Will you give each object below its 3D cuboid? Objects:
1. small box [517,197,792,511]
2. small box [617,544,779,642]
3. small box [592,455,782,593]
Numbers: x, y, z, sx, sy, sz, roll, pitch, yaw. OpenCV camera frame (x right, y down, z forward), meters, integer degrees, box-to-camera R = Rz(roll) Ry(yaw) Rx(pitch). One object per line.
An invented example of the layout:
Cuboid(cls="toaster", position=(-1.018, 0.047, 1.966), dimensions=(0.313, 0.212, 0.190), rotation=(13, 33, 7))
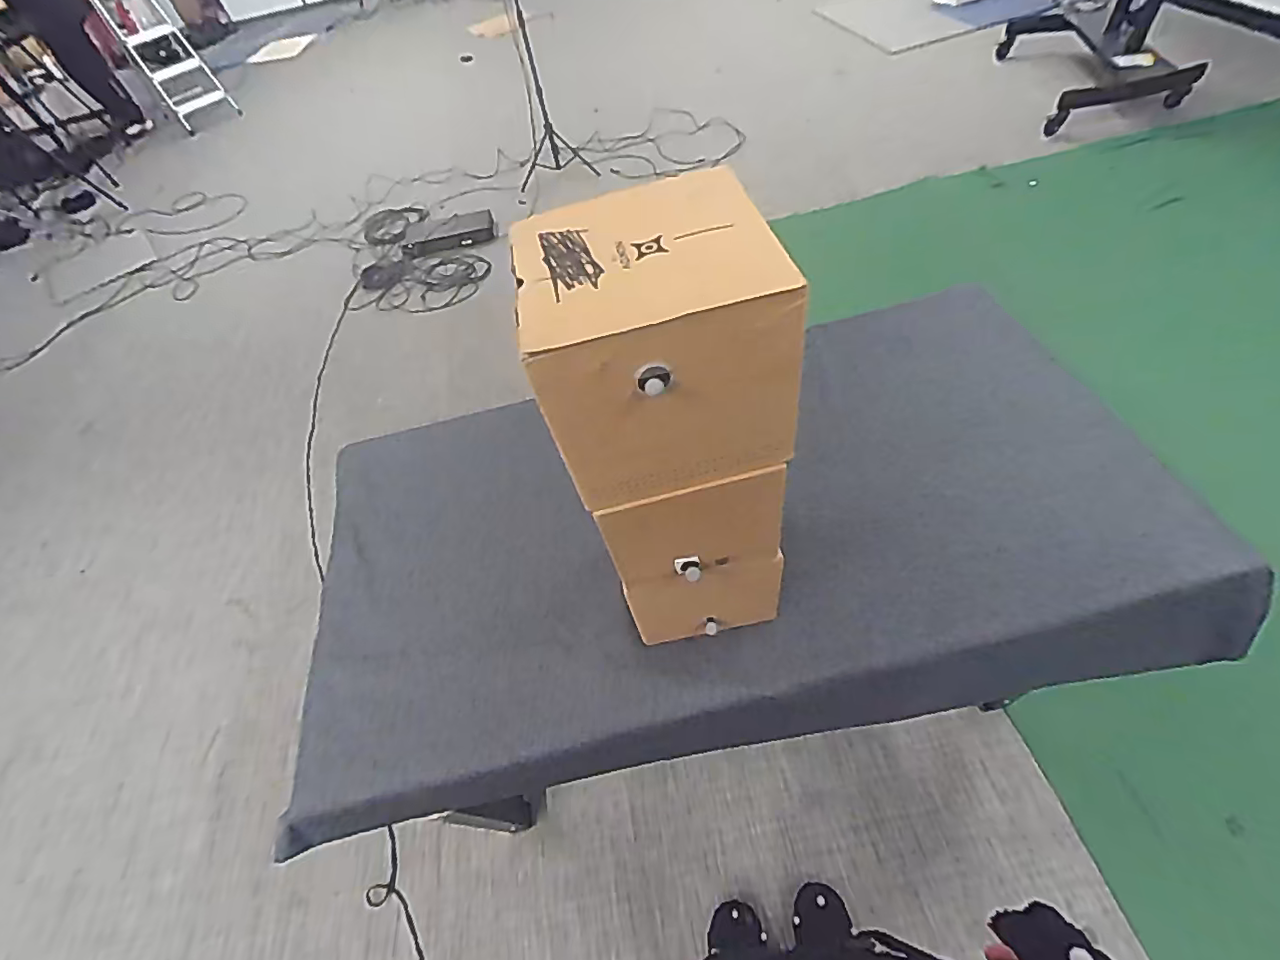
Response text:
Cuboid(cls="small box", position=(0.012, -0.094, 0.446), dimensions=(0.179, 0.176, 0.168), rotation=(-14, 53, 1))
Cuboid(cls="small box", position=(0.062, 0.089, 0.691), dimensions=(0.179, 0.176, 0.168), rotation=(-12, 53, 0))
Cuboid(cls="small box", position=(0.036, -0.009, 0.564), dimensions=(0.168, 0.176, 0.179), rotation=(-15, 54, 1))
